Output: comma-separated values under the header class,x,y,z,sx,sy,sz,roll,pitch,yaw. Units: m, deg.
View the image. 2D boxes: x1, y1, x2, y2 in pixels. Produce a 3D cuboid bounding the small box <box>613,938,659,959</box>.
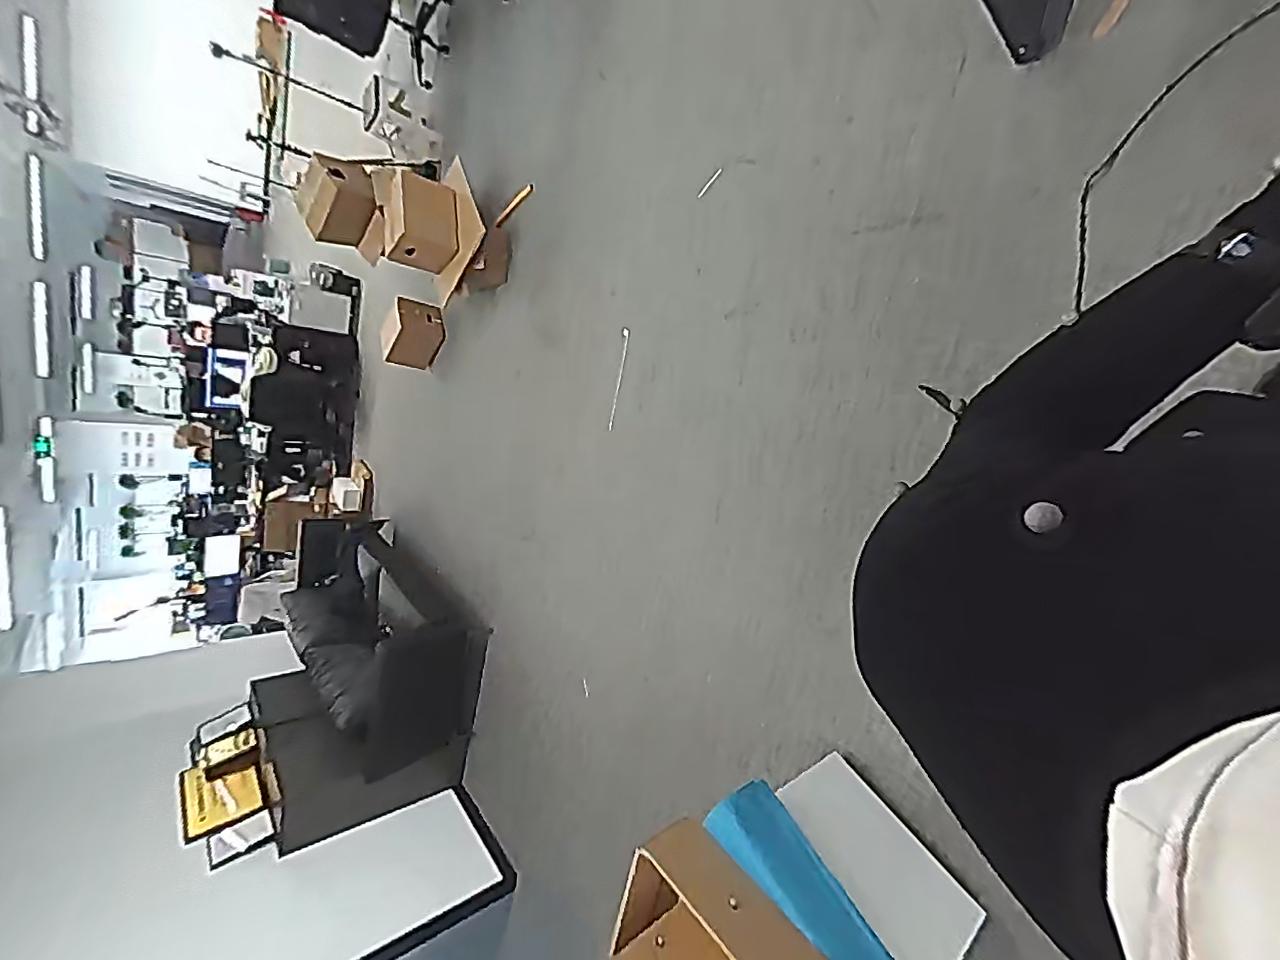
class,x,y,z,sx,sy,sz,roll,pitch,yaw
small box,-0.020,1.173,1.183,0.179,0.176,0.168,31,113,43
